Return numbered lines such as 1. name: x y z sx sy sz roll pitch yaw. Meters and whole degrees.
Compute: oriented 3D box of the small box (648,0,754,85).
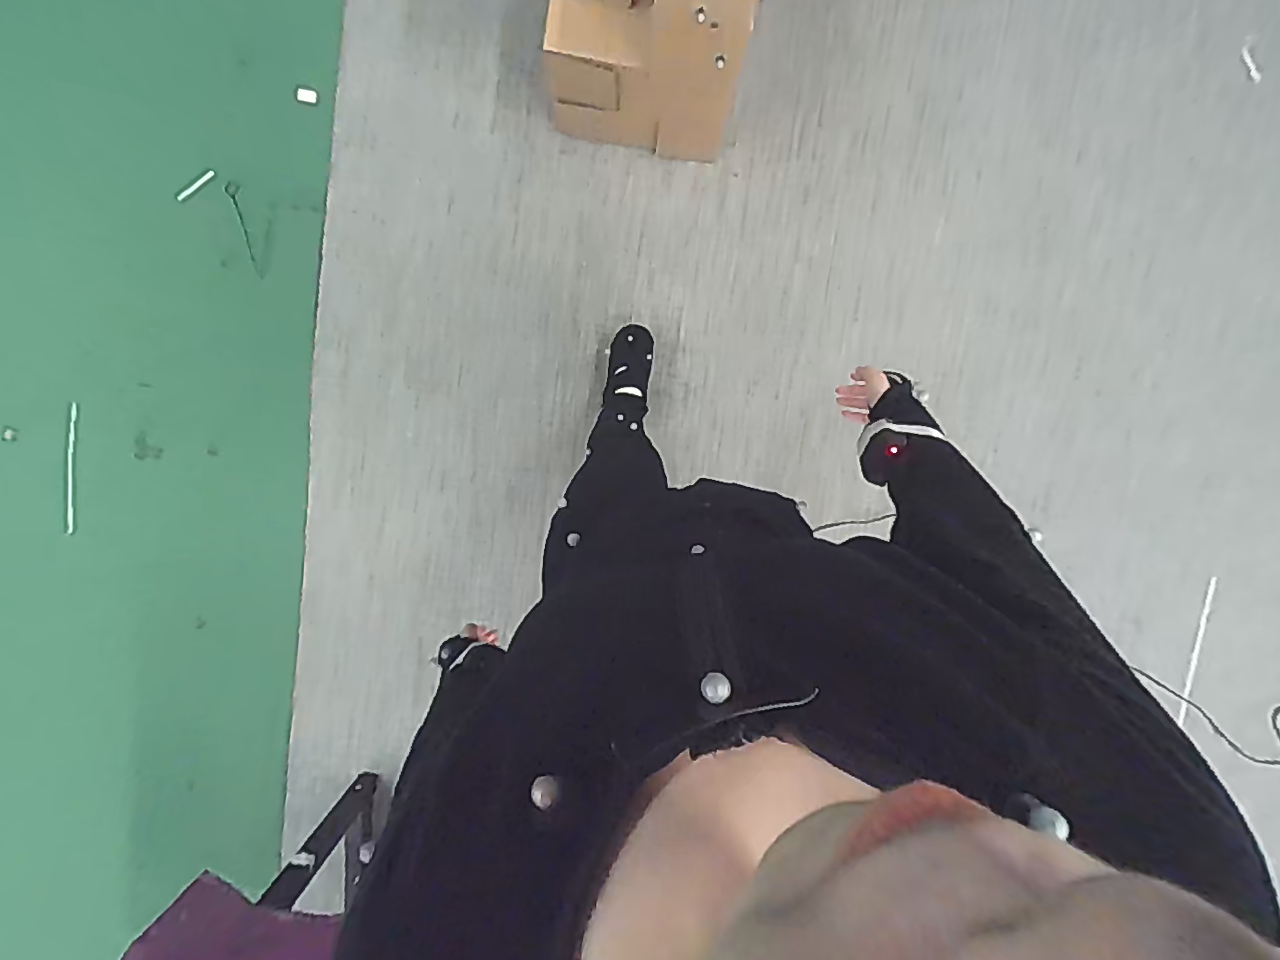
1. small box: 0.112 -0.868 0.993 0.179 0.176 0.168 8 94 0
